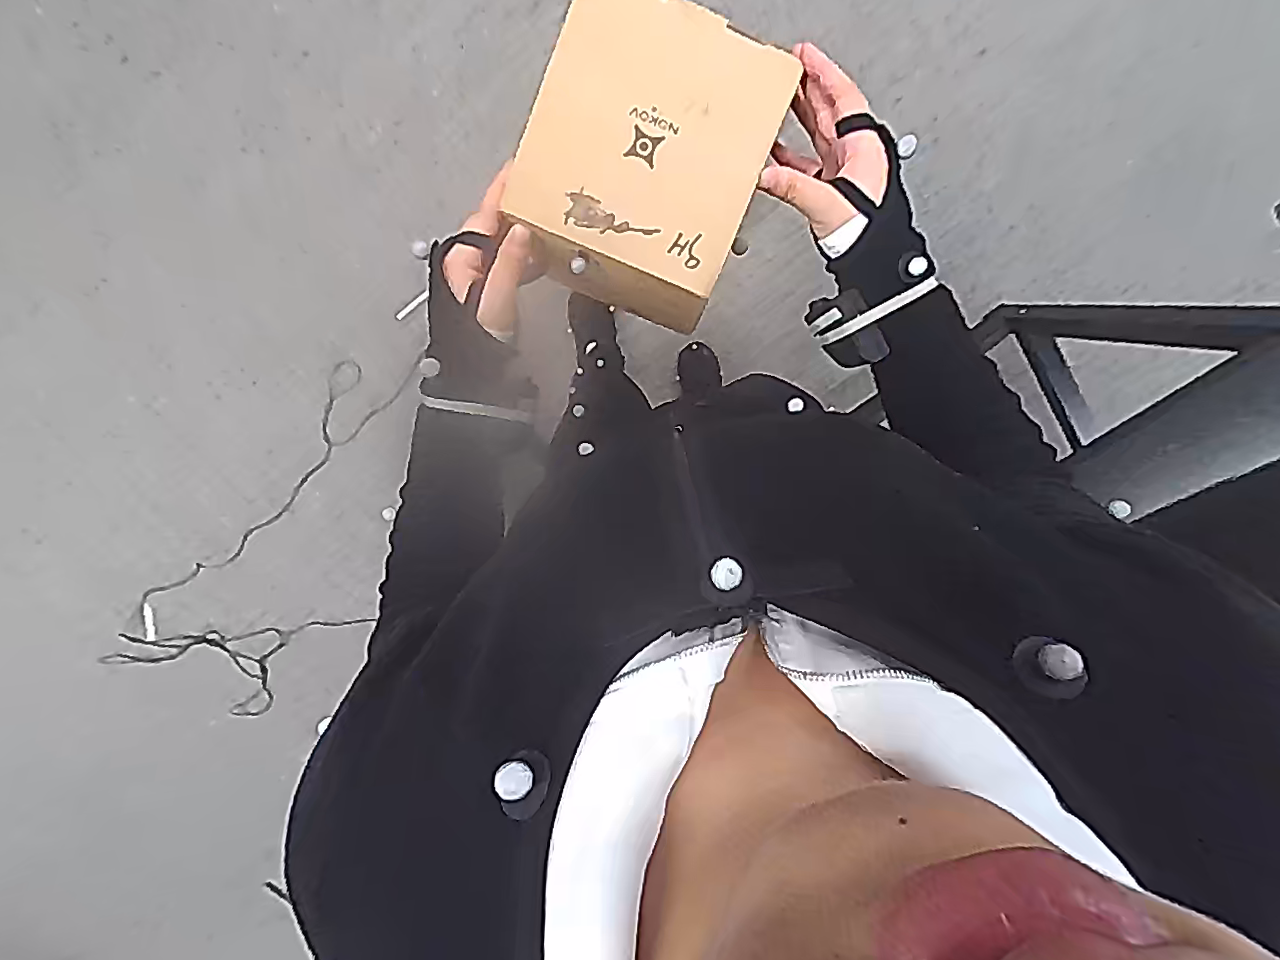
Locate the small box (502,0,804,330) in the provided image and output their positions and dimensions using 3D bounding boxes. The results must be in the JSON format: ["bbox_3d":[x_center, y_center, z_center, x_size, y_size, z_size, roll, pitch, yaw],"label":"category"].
[{"bbox_3d":[0.008,-0.252,0.458,0.168,0.176,0.179,23,94,-1],"label":"small box"}]
